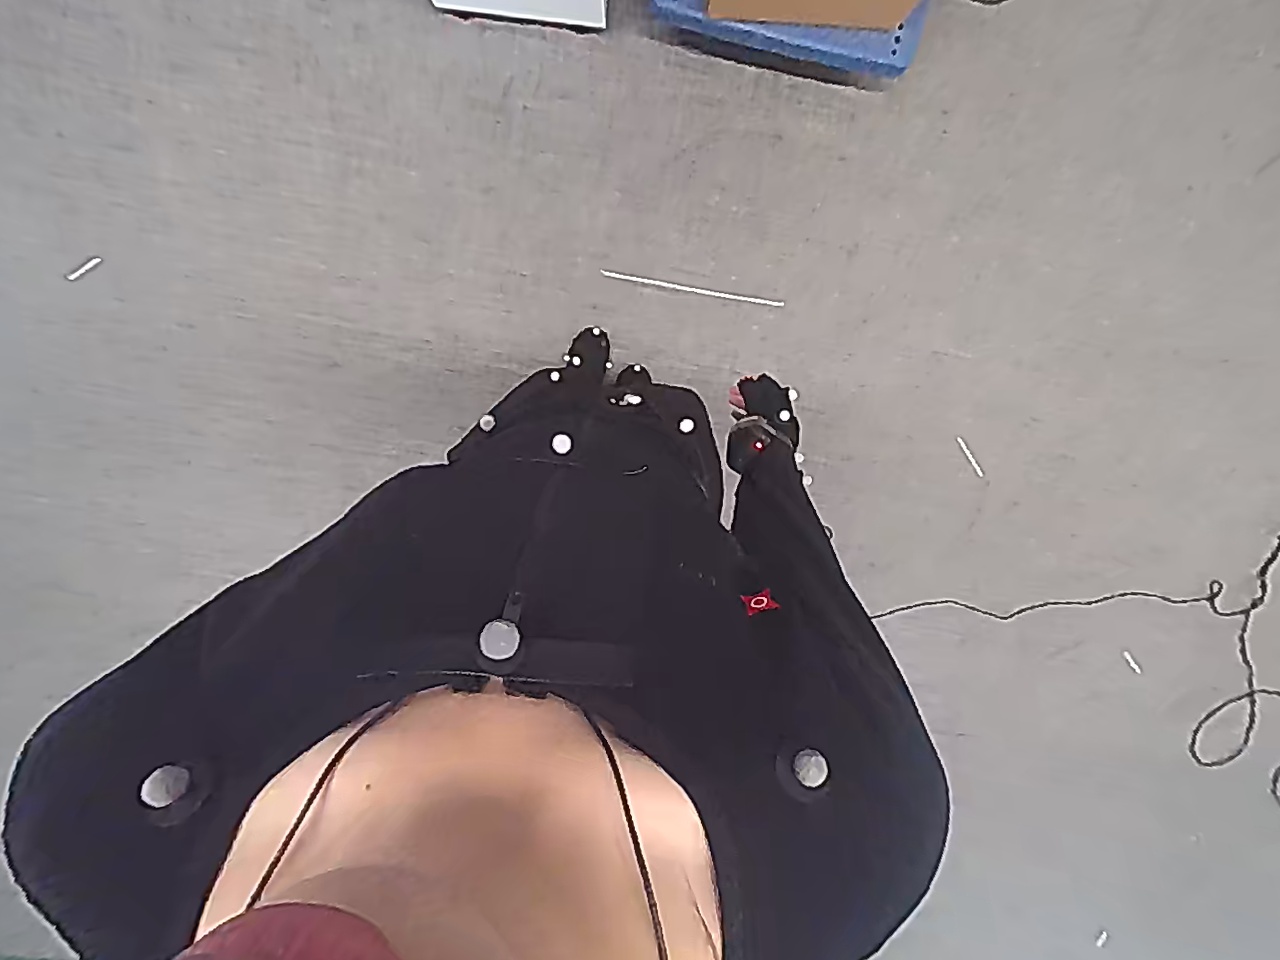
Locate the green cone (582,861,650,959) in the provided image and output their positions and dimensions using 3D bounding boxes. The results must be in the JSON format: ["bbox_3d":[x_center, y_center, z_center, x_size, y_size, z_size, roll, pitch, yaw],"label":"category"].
[{"bbox_3d":[-0.075,1.399,1.636,0.200,0.368,0.202,12,101,-4],"label":"green cone"}]
